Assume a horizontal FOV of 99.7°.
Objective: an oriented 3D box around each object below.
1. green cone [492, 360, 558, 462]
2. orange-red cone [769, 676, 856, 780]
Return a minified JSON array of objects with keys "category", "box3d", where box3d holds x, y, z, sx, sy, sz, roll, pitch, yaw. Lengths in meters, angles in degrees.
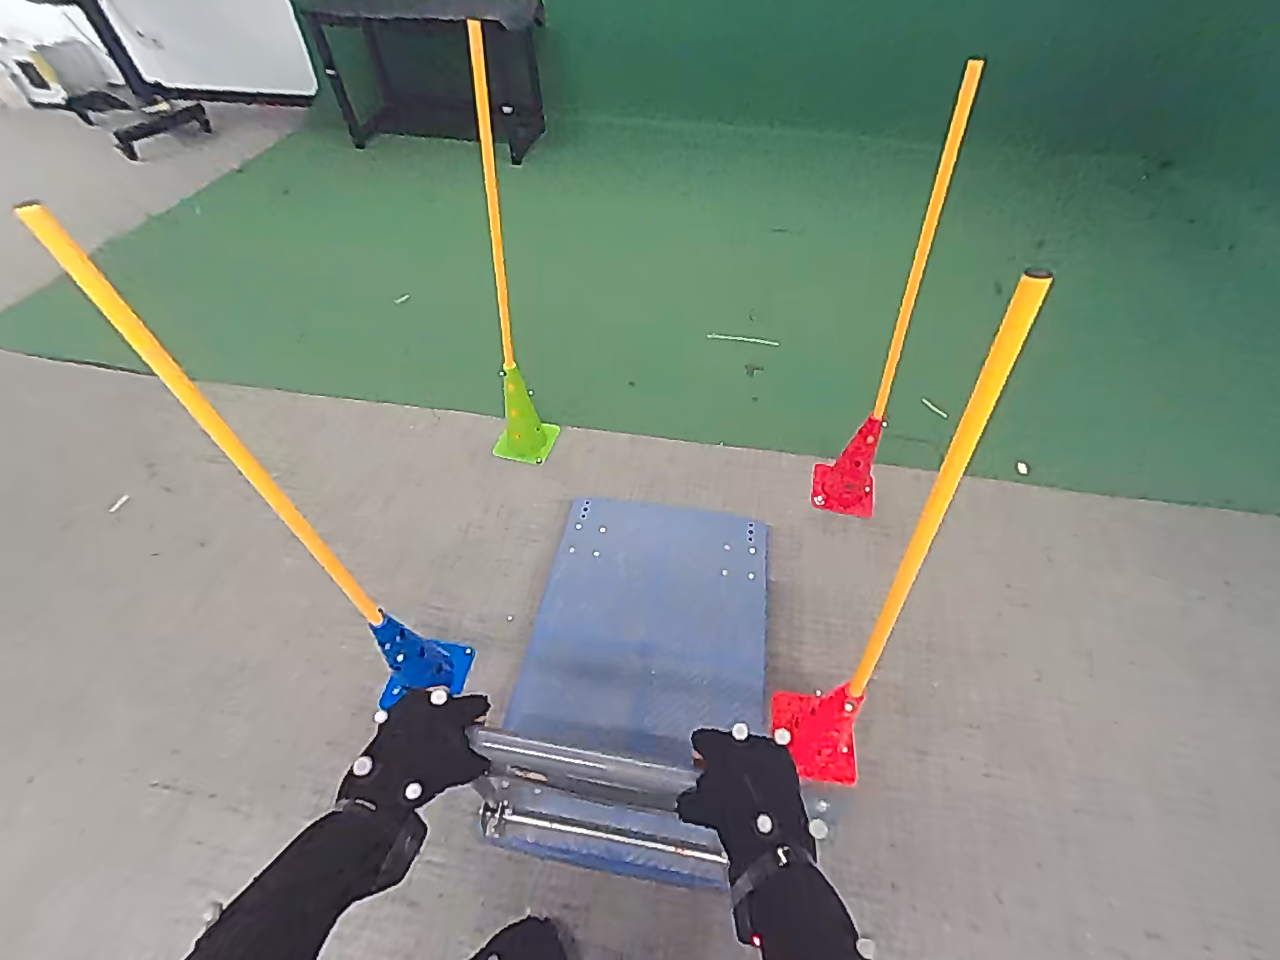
[{"category":"green cone","box3d":[-0.423,-0.260,1.868,0.202,0.368,0.200,11,51,9]},{"category":"orange-red cone","box3d":[0.423,0.532,1.238,0.199,0.360,0.198,6,51,7]}]
